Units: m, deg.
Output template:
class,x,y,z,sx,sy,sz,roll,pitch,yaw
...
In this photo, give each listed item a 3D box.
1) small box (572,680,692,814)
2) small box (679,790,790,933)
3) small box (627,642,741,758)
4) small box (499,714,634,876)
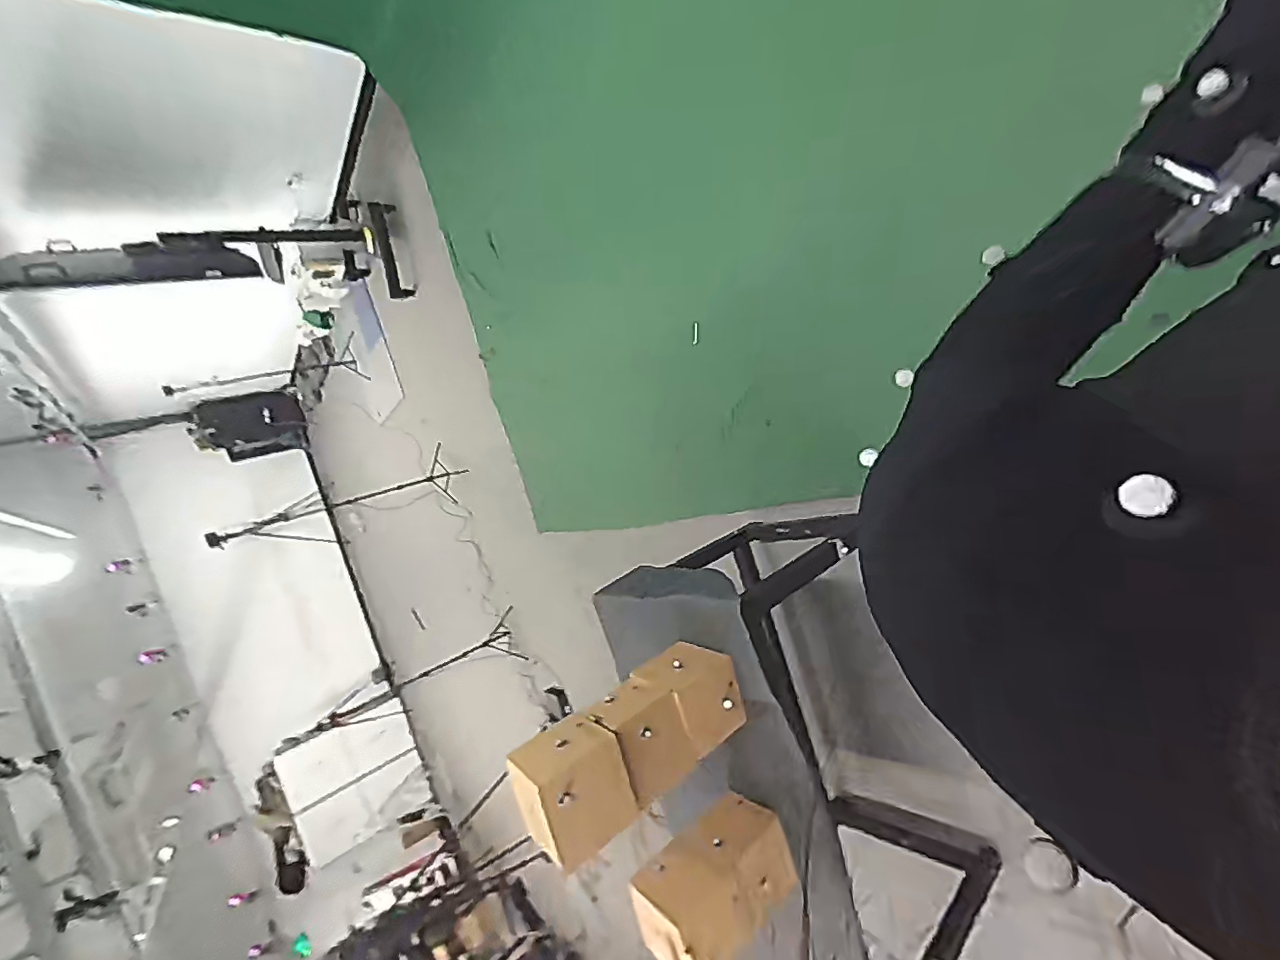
class,x,y,z,sx,sy,sz,roll,pitch,yaw
small box,-0.020,0.546,1.137,0.168,0.176,0.179,-16,95,56
small box,0.224,0.873,1.259,0.168,0.176,0.179,-9,99,53
small box,0.101,0.489,1.231,0.179,0.176,0.168,-4,104,53
small box,-0.138,0.578,1.024,0.168,0.176,0.179,-7,101,55
